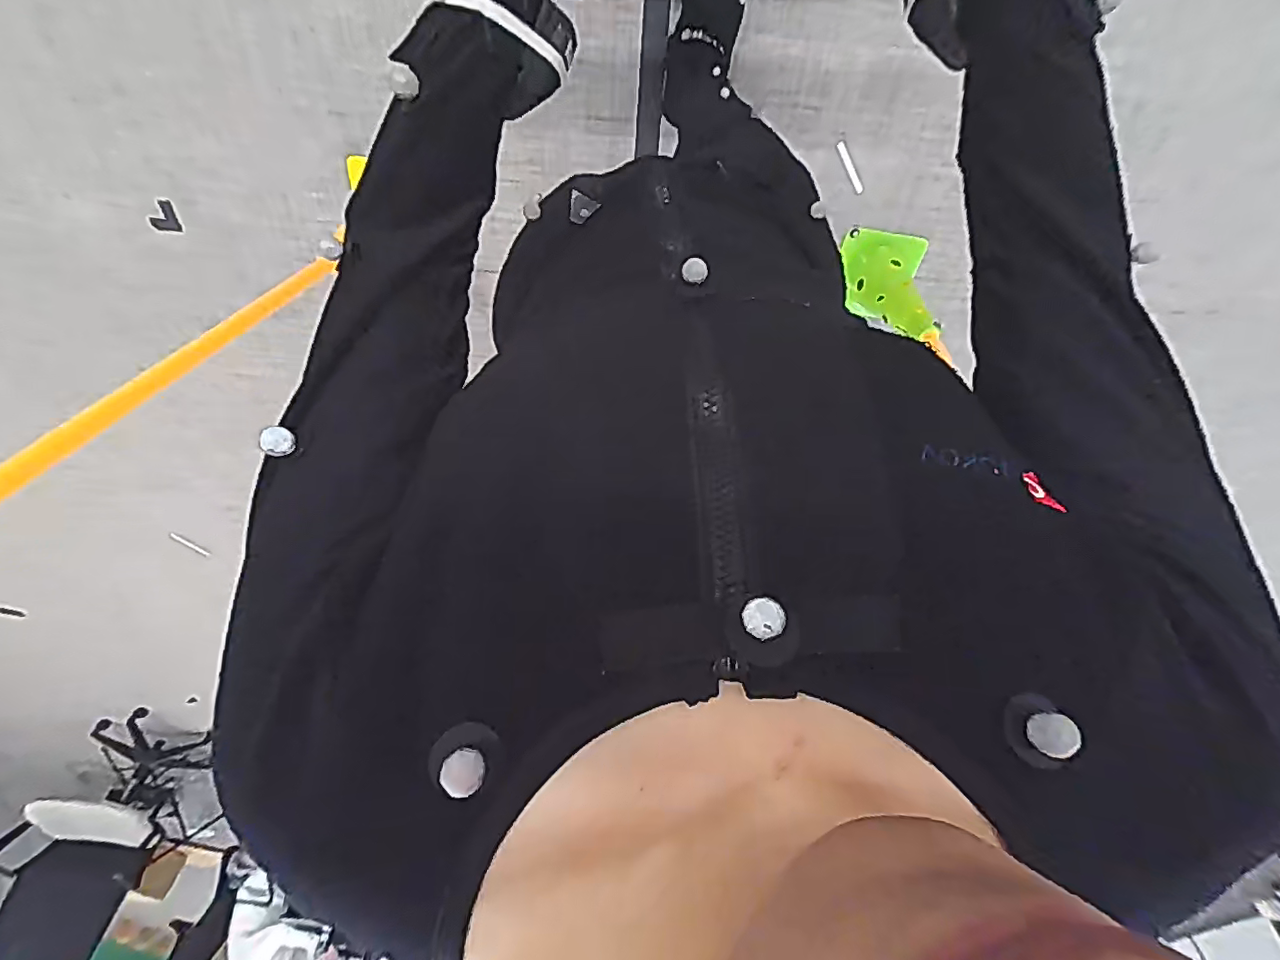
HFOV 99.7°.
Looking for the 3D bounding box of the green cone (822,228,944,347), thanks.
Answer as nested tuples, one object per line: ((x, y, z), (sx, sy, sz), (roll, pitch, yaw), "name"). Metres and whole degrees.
((0.566, -0.389, 1.188), (0.202, 0.368, 0.200), (6, 130, -5), "green cone")
